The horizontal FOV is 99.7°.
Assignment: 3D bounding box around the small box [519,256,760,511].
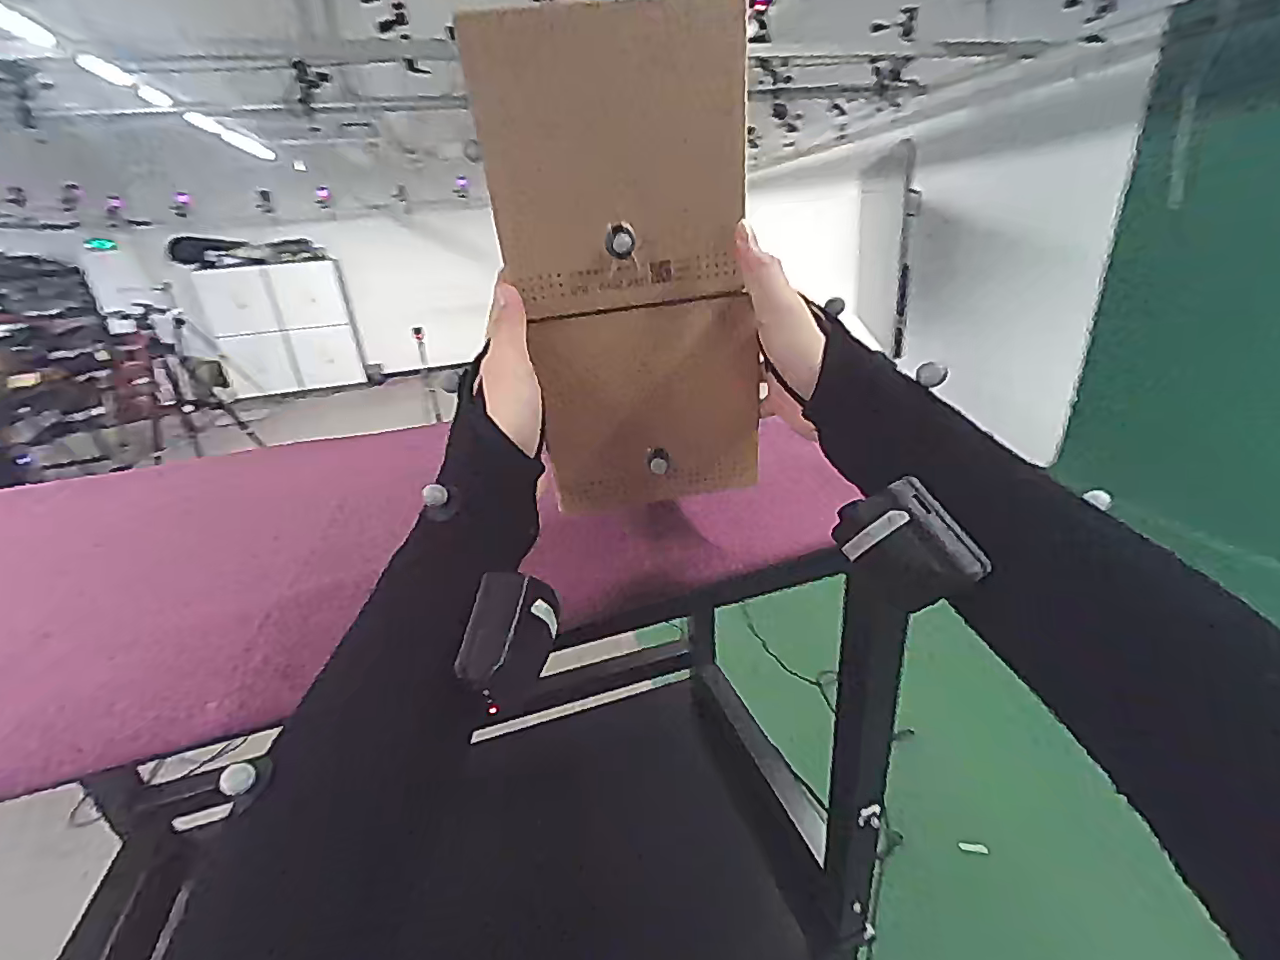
[{"bbox_3d":[-0.001,-0.092,0.490,0.179,0.176,0.168,-9,31,-3],"label":"small box"}]
